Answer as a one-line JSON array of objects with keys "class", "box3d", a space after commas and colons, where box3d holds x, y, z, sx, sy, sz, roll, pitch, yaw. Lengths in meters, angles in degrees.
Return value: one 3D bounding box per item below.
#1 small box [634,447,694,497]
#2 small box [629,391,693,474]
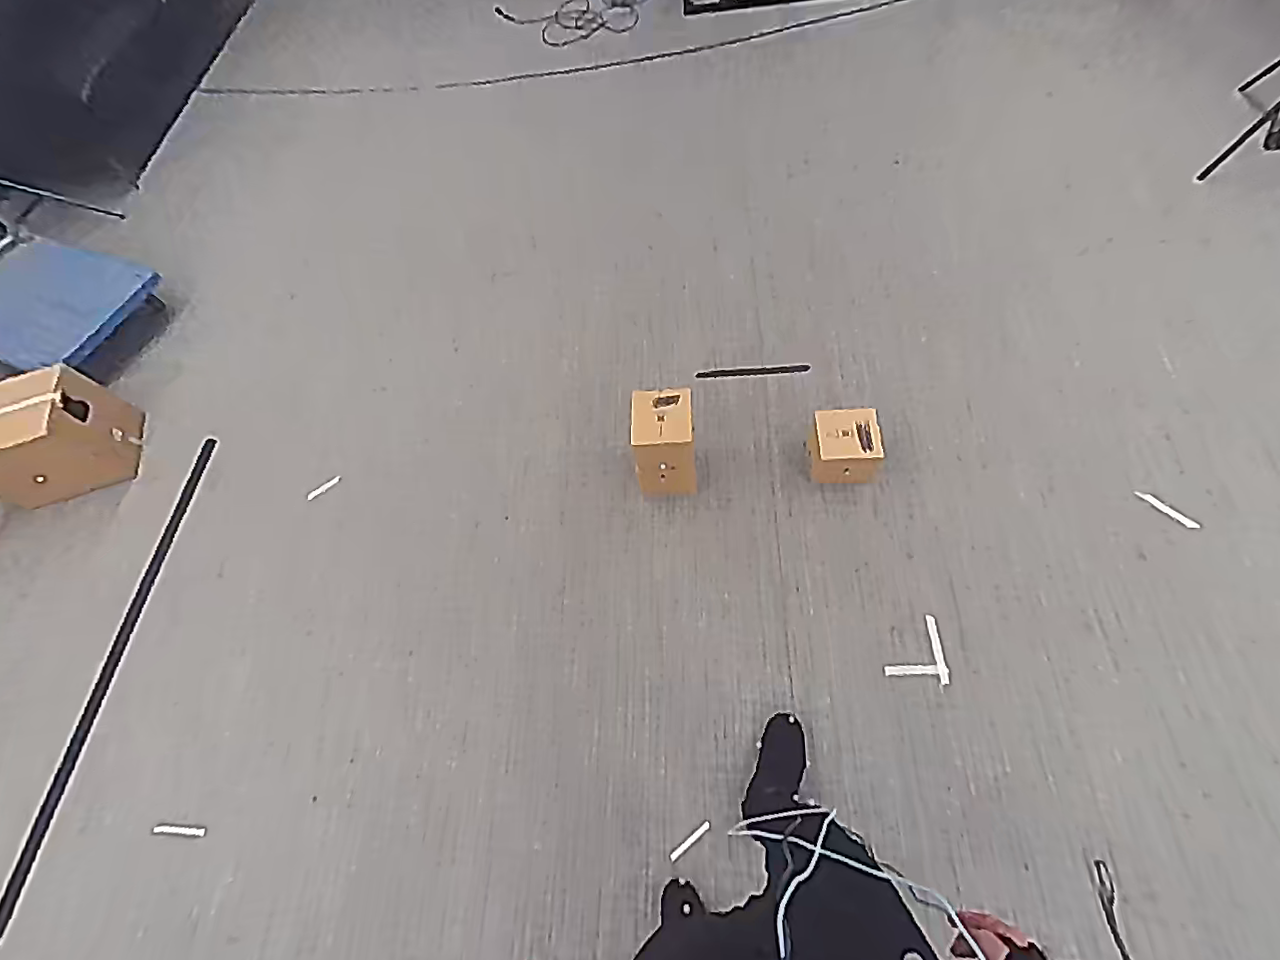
[{"class": "small box", "box3d": [0.078, -0.056, 1.683, 0.179, 0.176, 0.168, -3, 64, 7]}, {"class": "small box", "box3d": [0.063, -0.131, 1.537, 0.168, 0.176, 0.179, -2, 64, 7]}]
